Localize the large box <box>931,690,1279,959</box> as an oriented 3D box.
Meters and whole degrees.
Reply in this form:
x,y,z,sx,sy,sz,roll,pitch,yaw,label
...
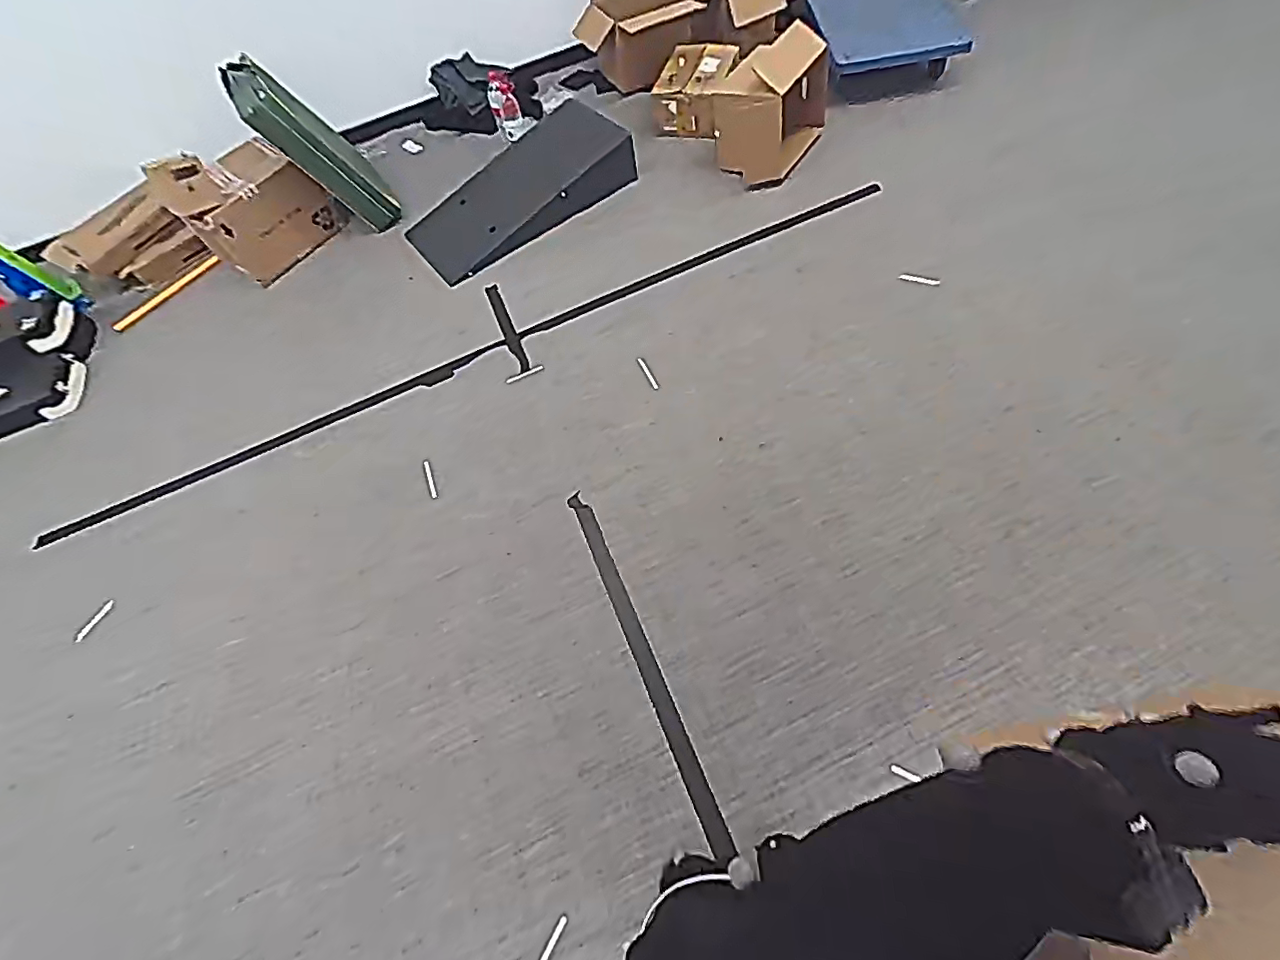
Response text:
x,y,z,sx,sy,sz,roll,pitch,yaw,label
0.503,0.426,0.441,0.320,0.320,0.408,-17,72,12,large box
